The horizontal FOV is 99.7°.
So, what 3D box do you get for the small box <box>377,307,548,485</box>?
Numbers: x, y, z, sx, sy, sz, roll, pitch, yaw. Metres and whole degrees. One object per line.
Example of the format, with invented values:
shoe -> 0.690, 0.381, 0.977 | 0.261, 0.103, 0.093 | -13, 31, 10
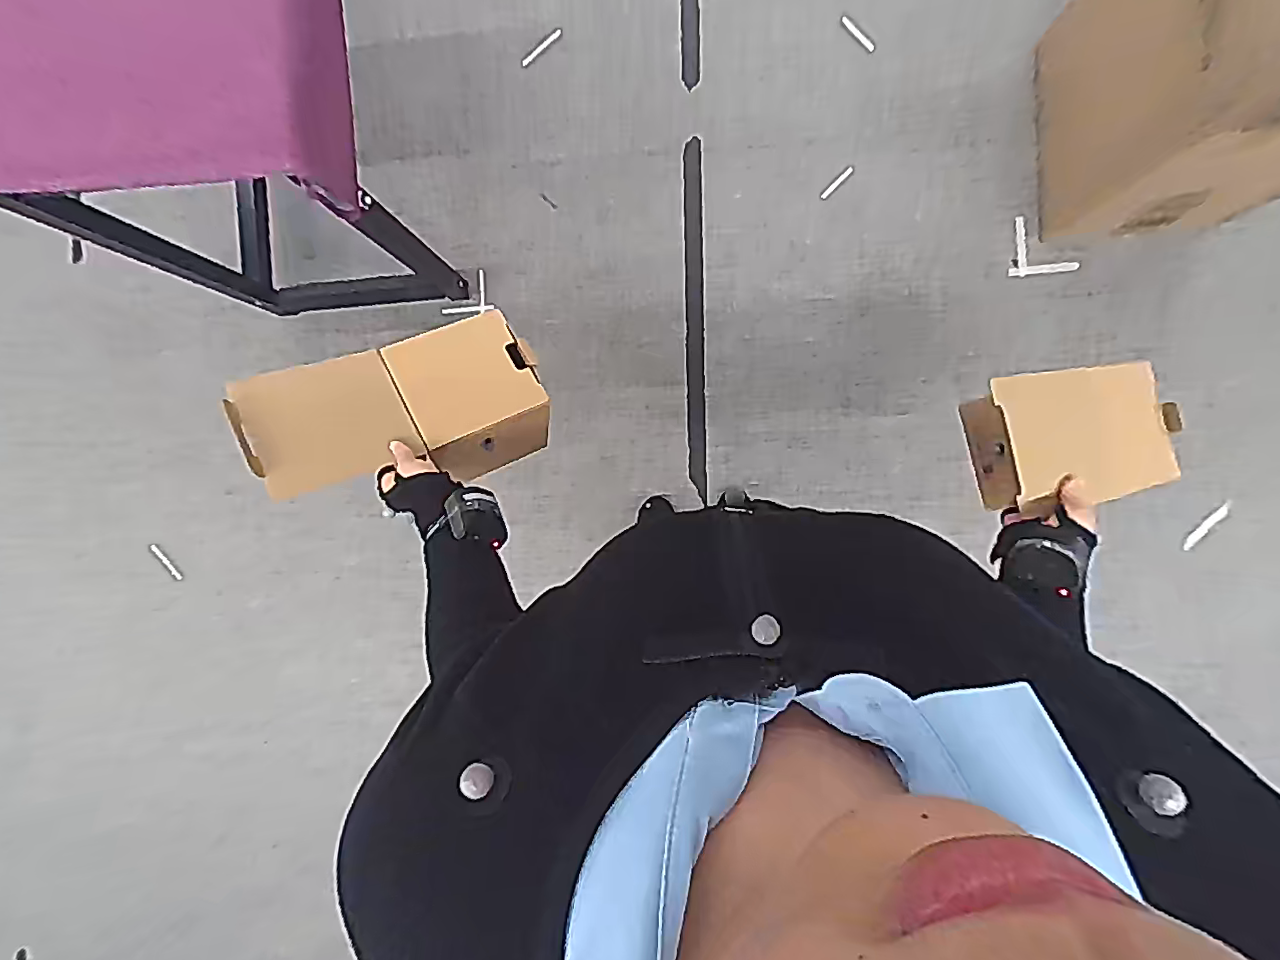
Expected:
small box -> -0.247, -0.113, 0.790 | 0.179, 0.176, 0.168 | -26, 79, -18
